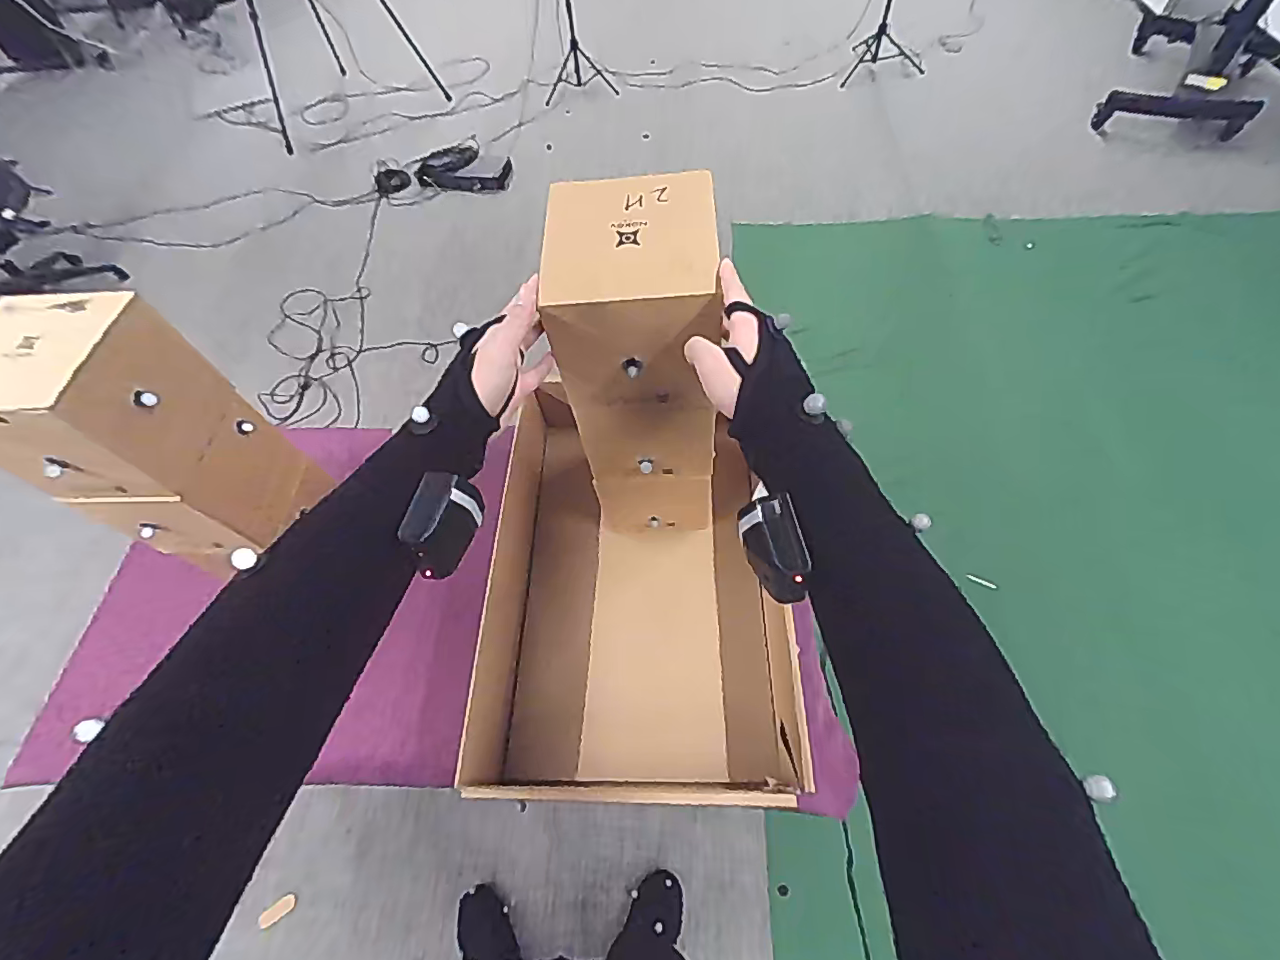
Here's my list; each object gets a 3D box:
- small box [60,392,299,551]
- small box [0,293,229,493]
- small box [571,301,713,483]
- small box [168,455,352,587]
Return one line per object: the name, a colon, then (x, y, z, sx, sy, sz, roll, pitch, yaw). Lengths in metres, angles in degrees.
small box: (-0.635, -0.005, 0.778, 0.168, 0.176, 0.179, -1, 59, 3)
small box: (-0.643, -0.094, 0.640, 0.168, 0.176, 0.179, -1, 59, 3)
small box: (0.008, -0.113, 0.727, 0.168, 0.176, 0.179, -3, 61, 5)
small box: (-0.624, 0.075, 0.918, 0.168, 0.176, 0.179, 0, 59, 3)
